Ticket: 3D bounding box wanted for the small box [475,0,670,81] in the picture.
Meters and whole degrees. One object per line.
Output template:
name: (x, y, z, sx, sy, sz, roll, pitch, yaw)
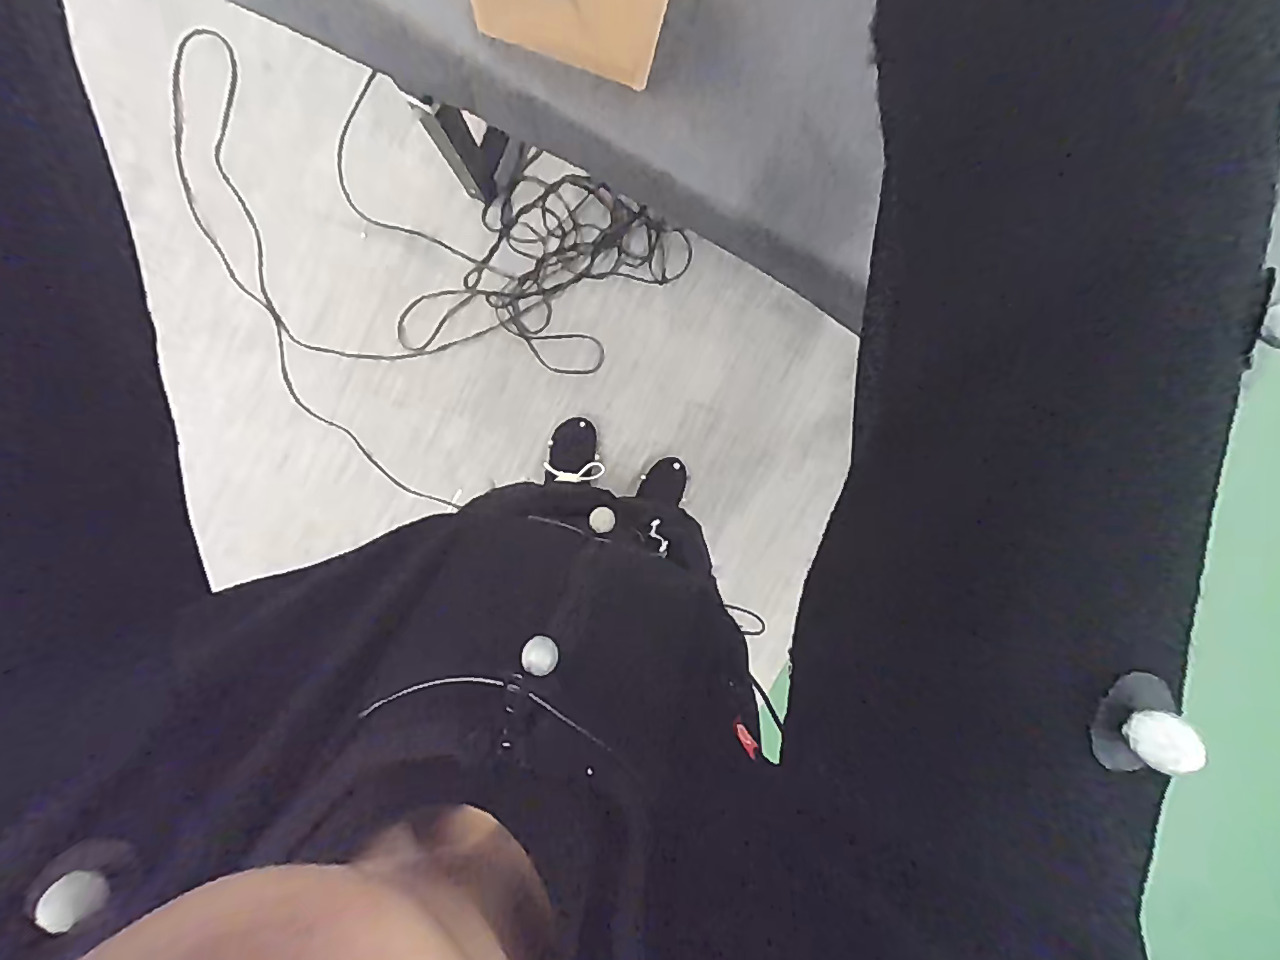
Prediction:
small box: (-0.046, -0.490, 0.462, 0.179, 0.176, 0.168, 15, 97, -8)
